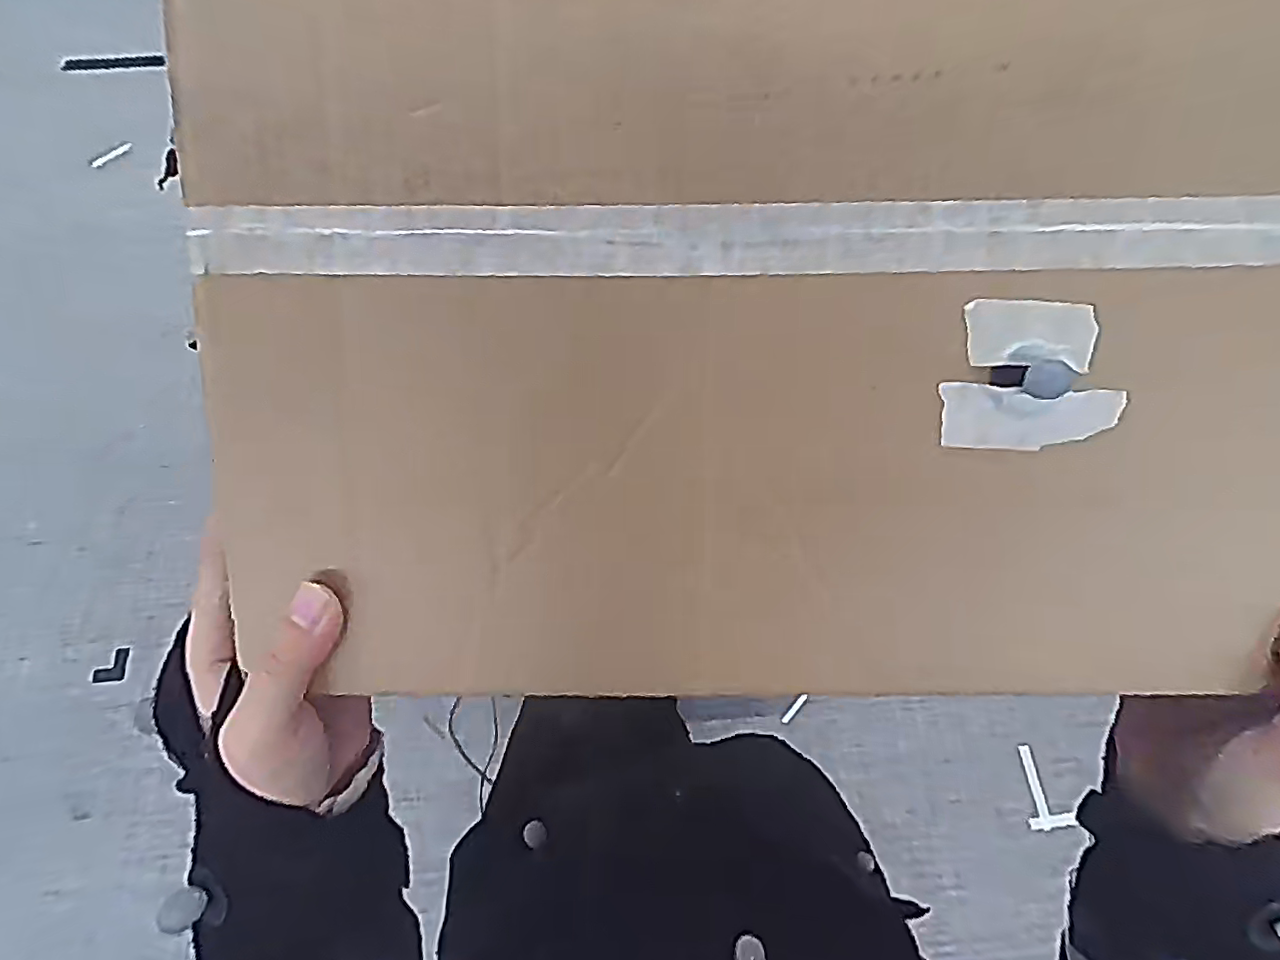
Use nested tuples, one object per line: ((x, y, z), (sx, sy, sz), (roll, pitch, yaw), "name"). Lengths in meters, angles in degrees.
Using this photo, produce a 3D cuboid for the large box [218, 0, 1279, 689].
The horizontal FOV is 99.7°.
((0.057, -0.094, 0.336), (0.408, 0.320, 0.320), (-1, 97, -1), "large box")
